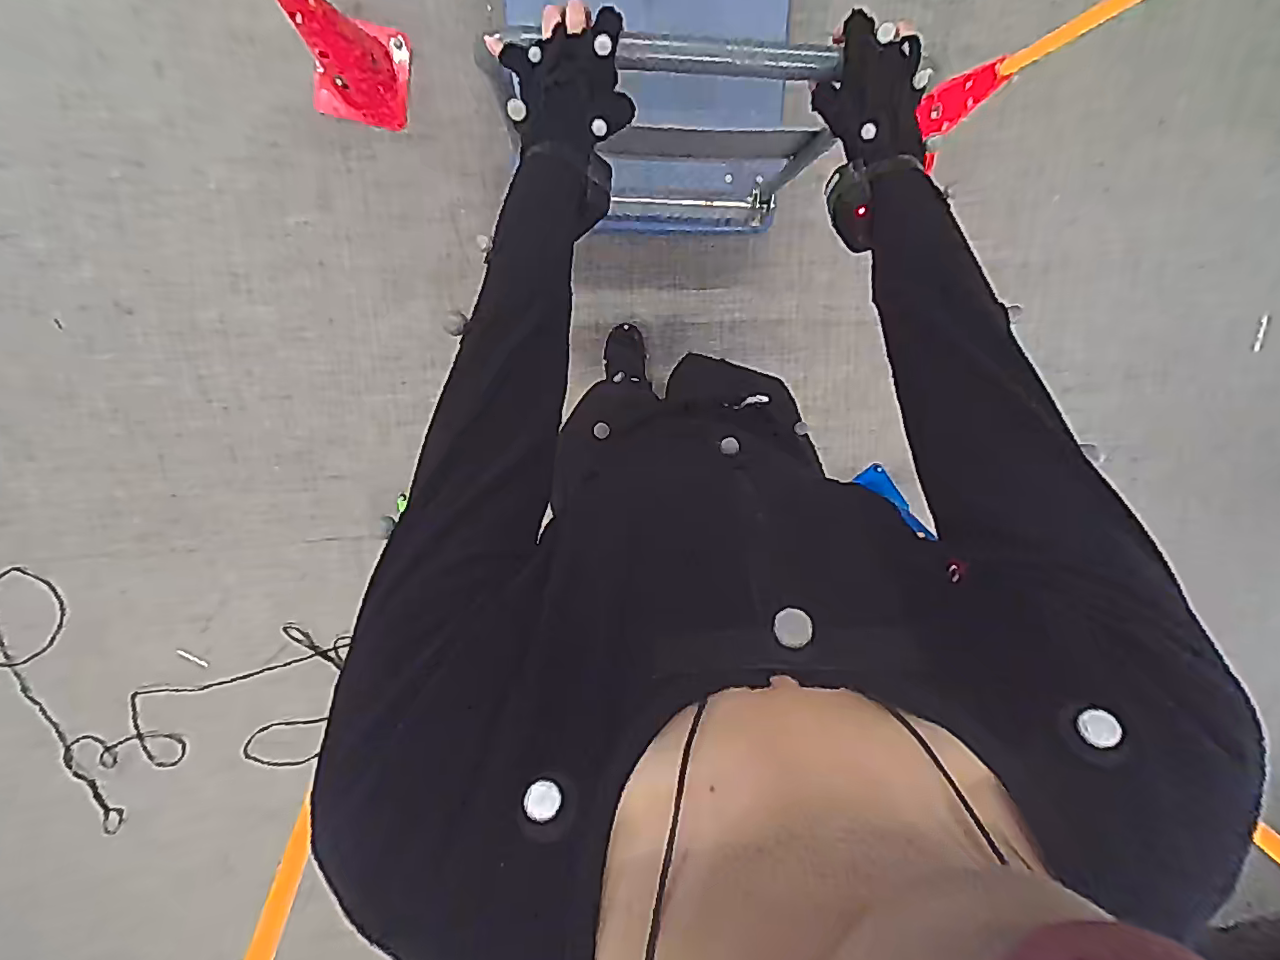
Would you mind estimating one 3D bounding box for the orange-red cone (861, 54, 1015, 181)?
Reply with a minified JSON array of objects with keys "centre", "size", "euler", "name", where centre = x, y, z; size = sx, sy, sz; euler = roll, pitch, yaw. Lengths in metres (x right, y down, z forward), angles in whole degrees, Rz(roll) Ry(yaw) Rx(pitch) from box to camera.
[{"centre":[0.673,-0.820,1.180],"size":[0.198,0.360,0.199],"euler":[8,105,-6],"name":"orange-red cone"}]
